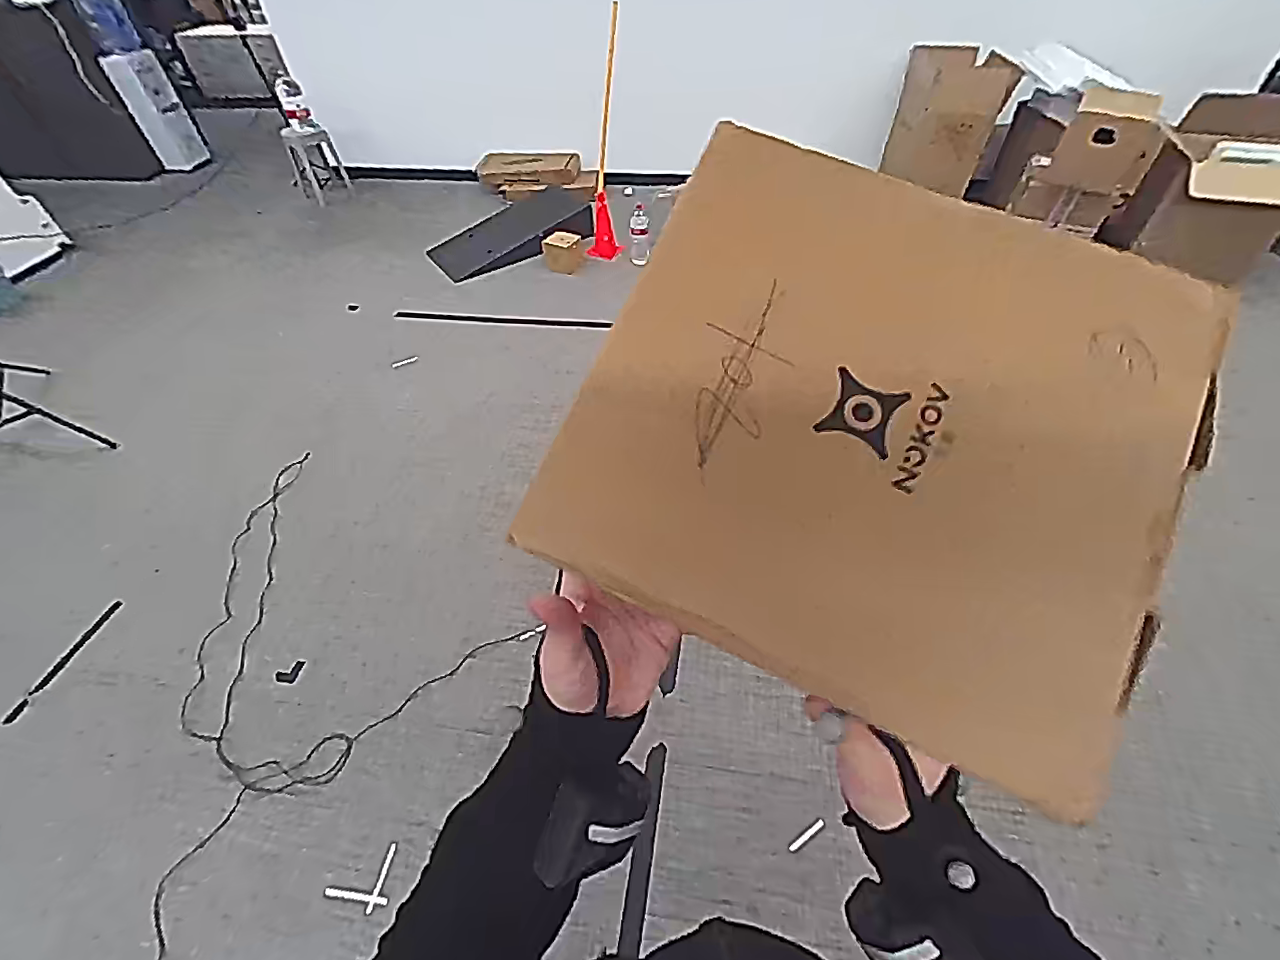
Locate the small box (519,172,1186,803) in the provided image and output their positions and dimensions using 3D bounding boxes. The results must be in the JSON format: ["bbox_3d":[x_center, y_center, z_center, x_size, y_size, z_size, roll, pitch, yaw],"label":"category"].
[{"bbox_3d":[0.076,0.006,0.254,0.179,0.176,0.168,22,78,9],"label":"small box"}]
